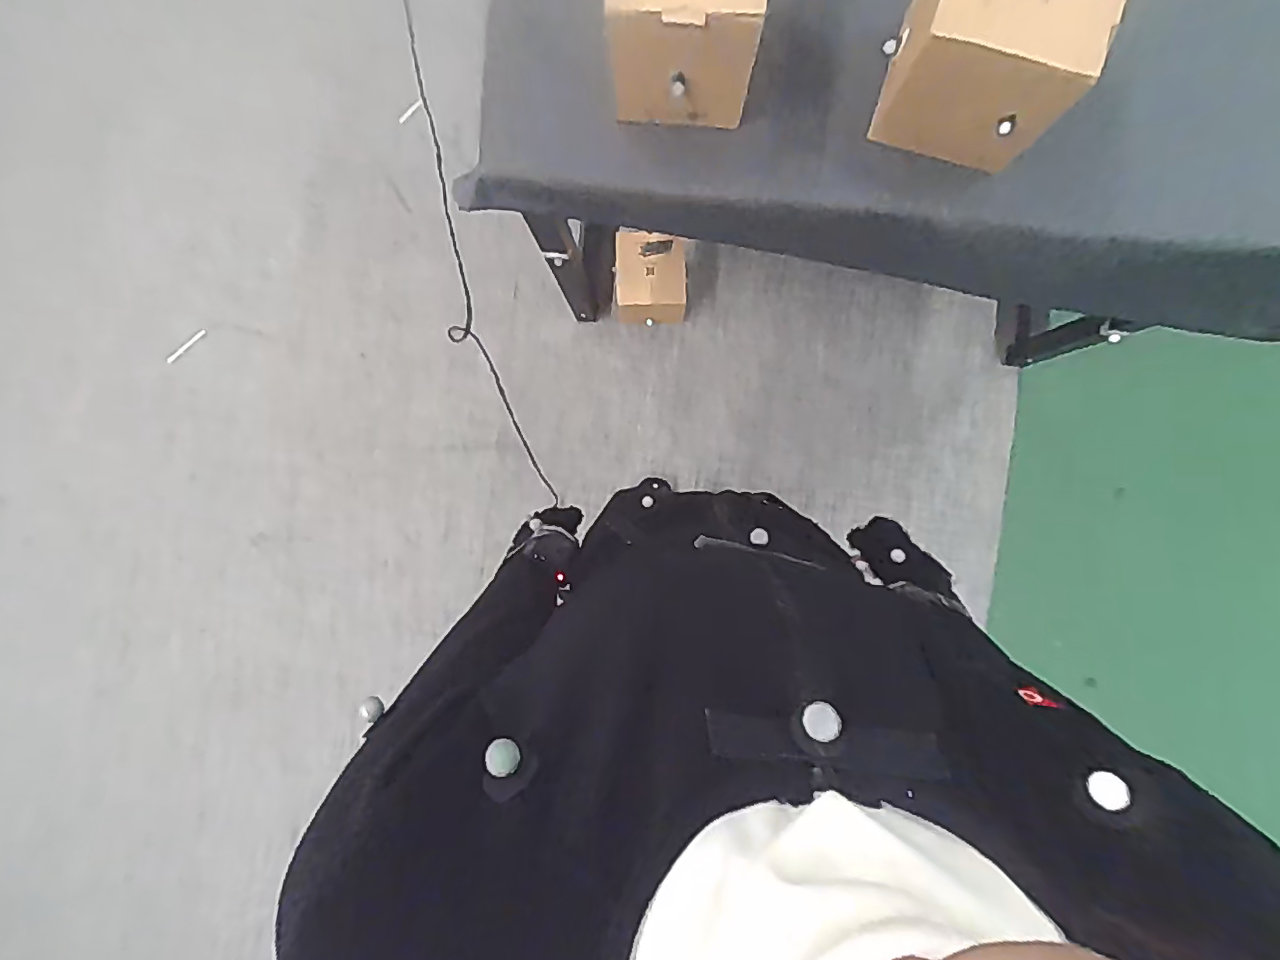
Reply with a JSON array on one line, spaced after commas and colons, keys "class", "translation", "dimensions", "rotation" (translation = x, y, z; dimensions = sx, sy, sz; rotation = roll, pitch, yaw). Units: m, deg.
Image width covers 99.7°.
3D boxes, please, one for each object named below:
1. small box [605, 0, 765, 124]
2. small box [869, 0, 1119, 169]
[{"class": "small box", "translation": [0.054, -0.551, 0.627], "dimensions": [0.168, 0.176, 0.179], "rotation": [5, 89, 1]}, {"class": "small box", "translation": [0.397, -0.496, 0.623], "dimensions": [0.179, 0.176, 0.168], "rotation": [16, 89, 2]}]
